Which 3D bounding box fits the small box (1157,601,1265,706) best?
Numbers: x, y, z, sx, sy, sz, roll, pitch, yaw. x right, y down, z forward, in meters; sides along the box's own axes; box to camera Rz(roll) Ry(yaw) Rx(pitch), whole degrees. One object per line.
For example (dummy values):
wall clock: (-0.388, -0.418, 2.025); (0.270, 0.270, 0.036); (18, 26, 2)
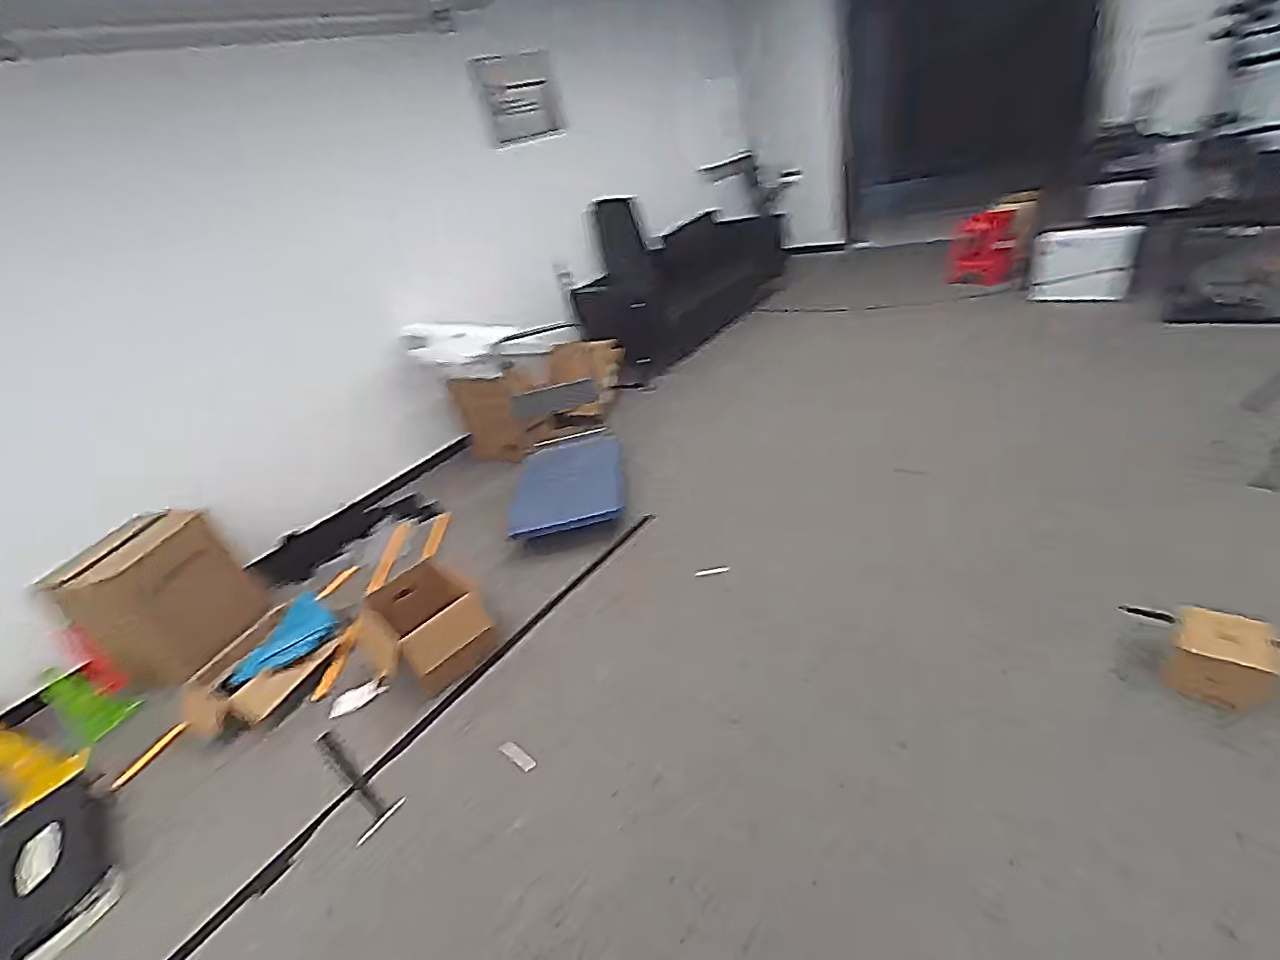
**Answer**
small box: (1.509, 0.461, 1.436); (0.168, 0.176, 0.179); (12, 40, 38)
